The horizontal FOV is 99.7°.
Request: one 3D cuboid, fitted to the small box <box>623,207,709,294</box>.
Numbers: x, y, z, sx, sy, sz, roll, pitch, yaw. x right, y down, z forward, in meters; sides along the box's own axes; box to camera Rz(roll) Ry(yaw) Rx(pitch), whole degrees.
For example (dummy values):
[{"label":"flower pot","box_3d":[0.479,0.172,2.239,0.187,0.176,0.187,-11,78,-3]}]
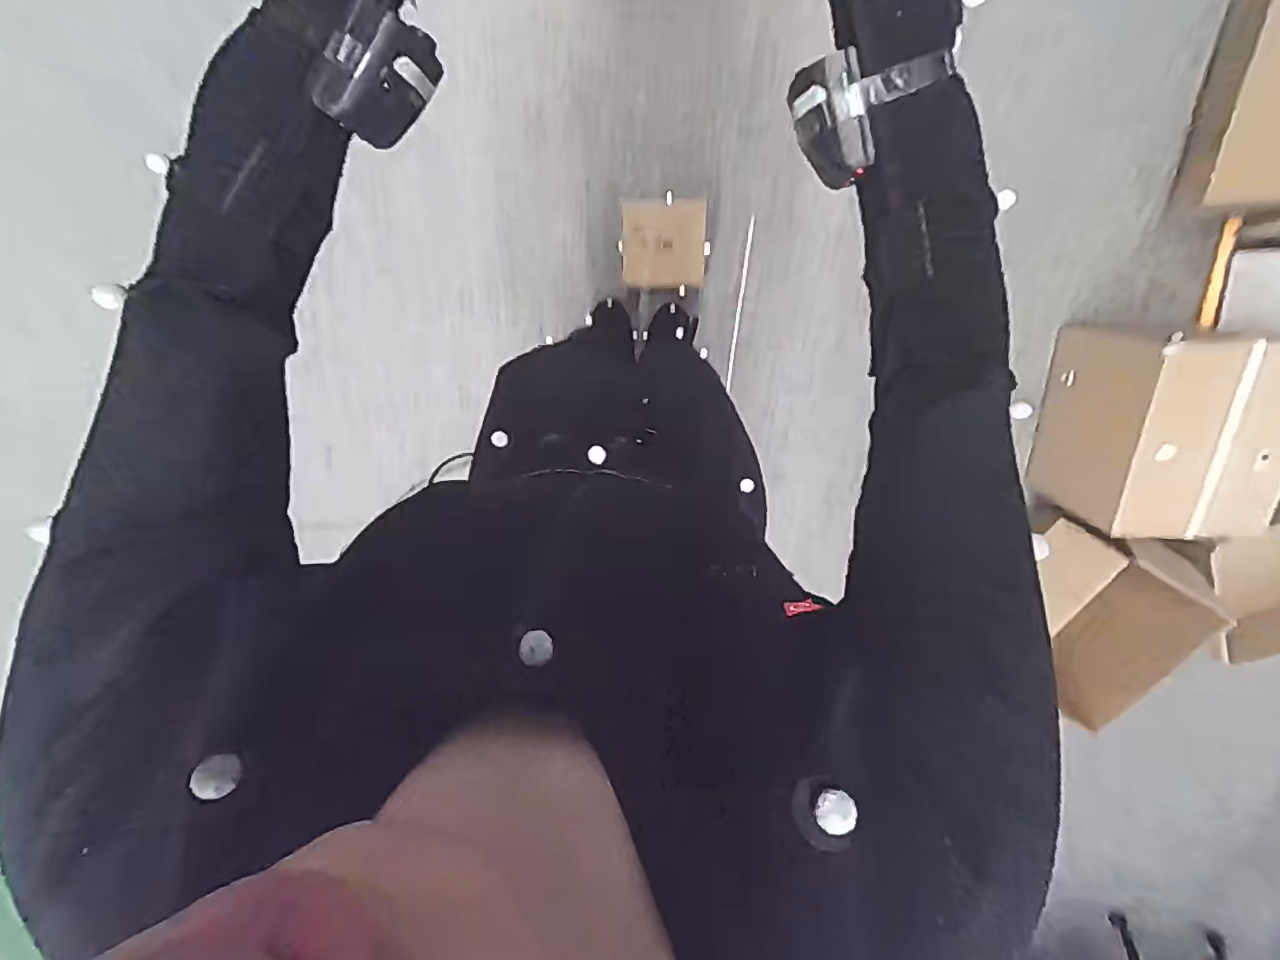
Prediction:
[{"label":"small box","box_3d":[0.055,-0.506,1.204,0.179,0.176,0.168,2,110,2]}]
